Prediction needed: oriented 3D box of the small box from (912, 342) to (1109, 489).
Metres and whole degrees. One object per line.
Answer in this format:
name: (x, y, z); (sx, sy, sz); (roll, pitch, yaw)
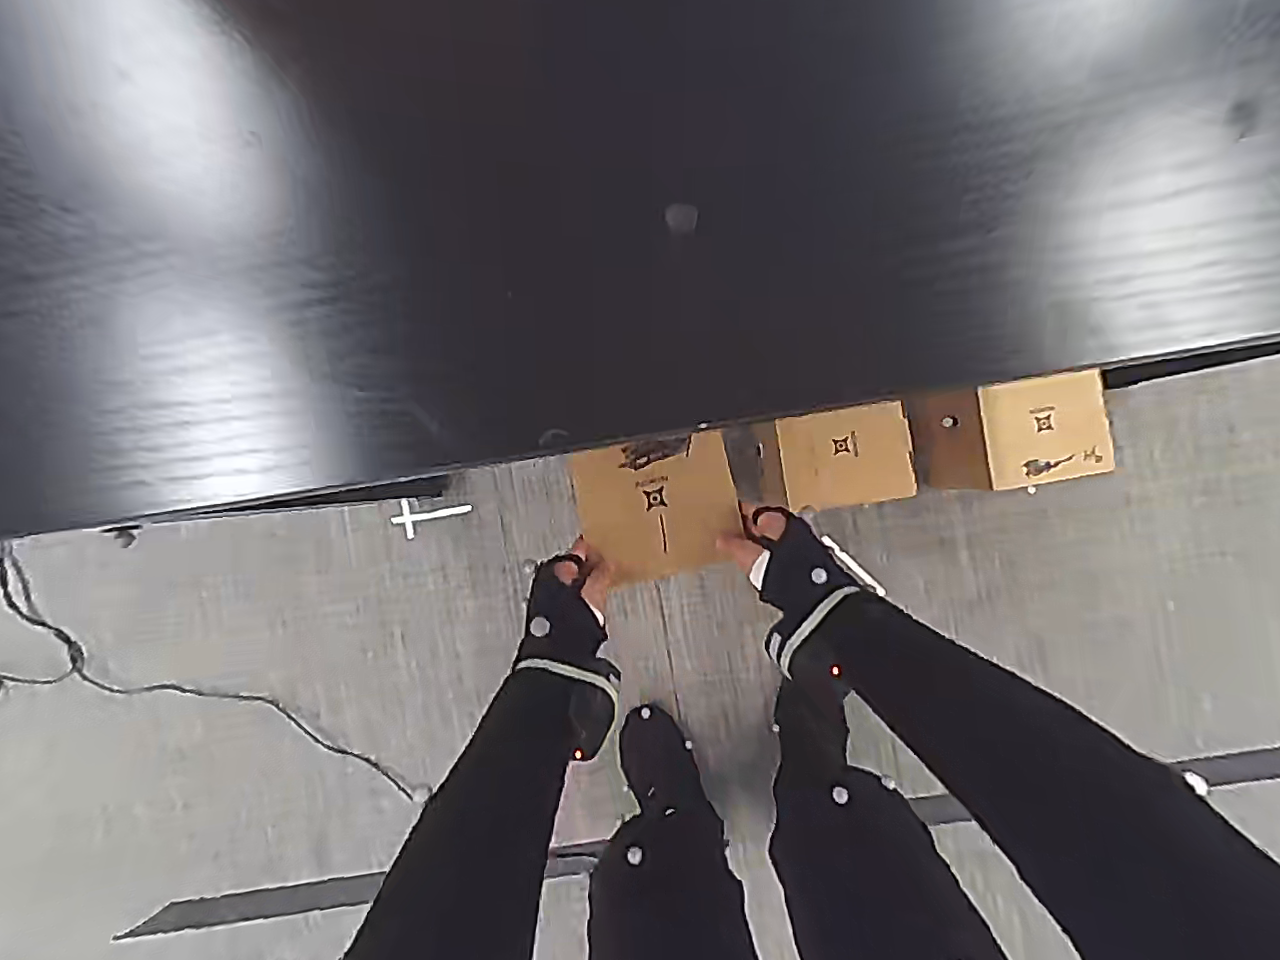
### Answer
small box: (0.529, -0.084, 0.799); (0.168, 0.176, 0.179); (-10, 89, 2)

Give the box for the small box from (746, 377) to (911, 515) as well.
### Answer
small box: (0.269, -0.046, 0.807); (0.179, 0.176, 0.168); (-10, 89, 2)

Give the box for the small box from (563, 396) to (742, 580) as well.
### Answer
small box: (0.010, 0.020, 0.648); (0.168, 0.176, 0.179); (-11, 81, -2)
